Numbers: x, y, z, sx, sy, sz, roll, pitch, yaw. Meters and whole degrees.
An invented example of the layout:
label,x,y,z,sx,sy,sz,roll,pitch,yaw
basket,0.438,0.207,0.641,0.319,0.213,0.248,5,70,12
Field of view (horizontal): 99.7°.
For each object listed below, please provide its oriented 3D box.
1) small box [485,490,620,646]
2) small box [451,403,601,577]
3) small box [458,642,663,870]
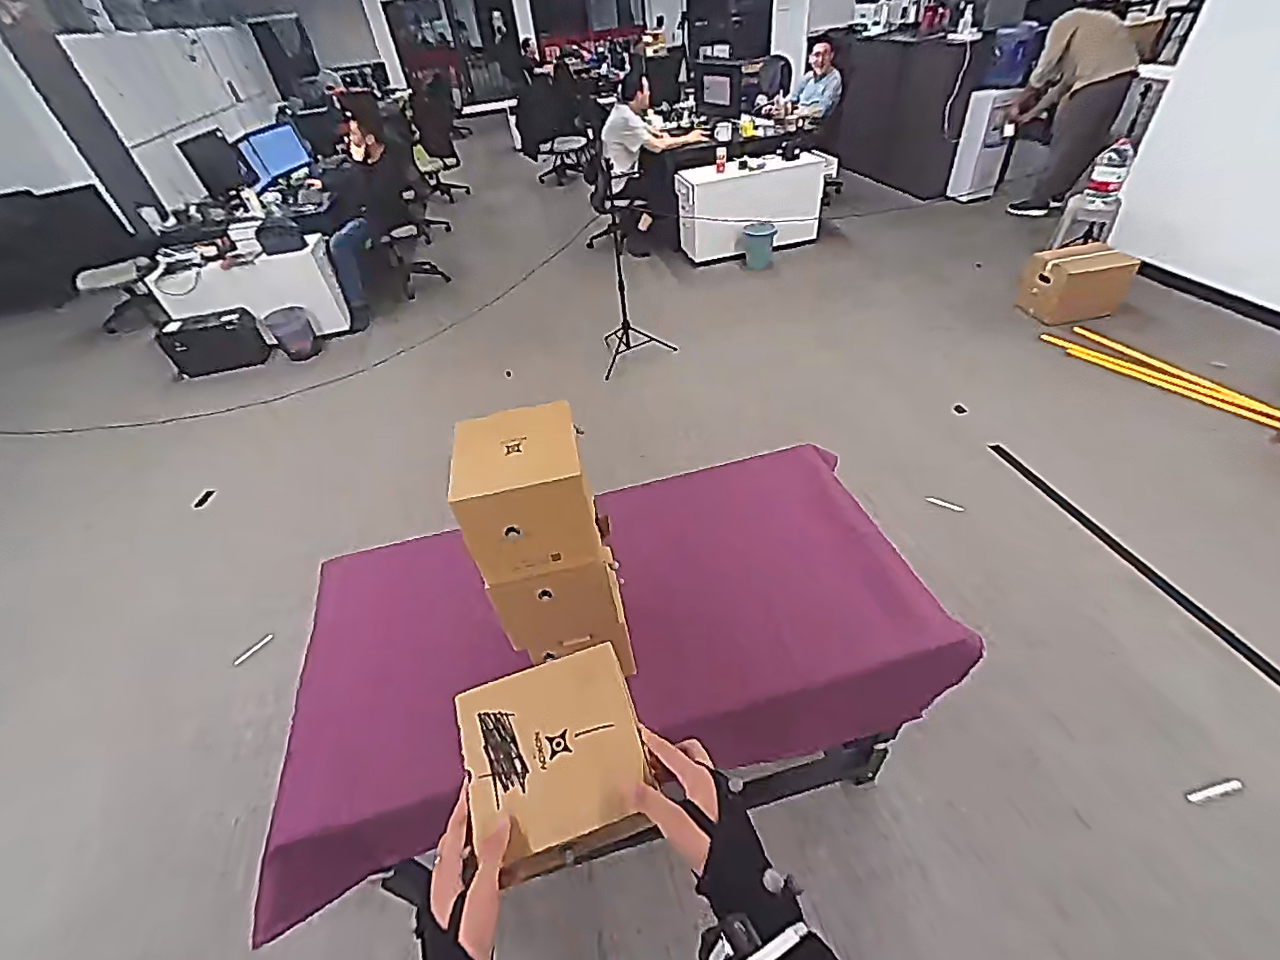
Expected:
label,x,y,z,sx,sy,sz,roll,pitch,yaw
small box,-0.138,0.144,0.874,0.179,0.176,0.168,-11,42,-4
small box,-0.156,0.019,0.771,0.168,0.176,0.179,-12,40,-4
small box,-0.082,0.311,0.603,0.179,0.176,0.168,-17,54,-8
